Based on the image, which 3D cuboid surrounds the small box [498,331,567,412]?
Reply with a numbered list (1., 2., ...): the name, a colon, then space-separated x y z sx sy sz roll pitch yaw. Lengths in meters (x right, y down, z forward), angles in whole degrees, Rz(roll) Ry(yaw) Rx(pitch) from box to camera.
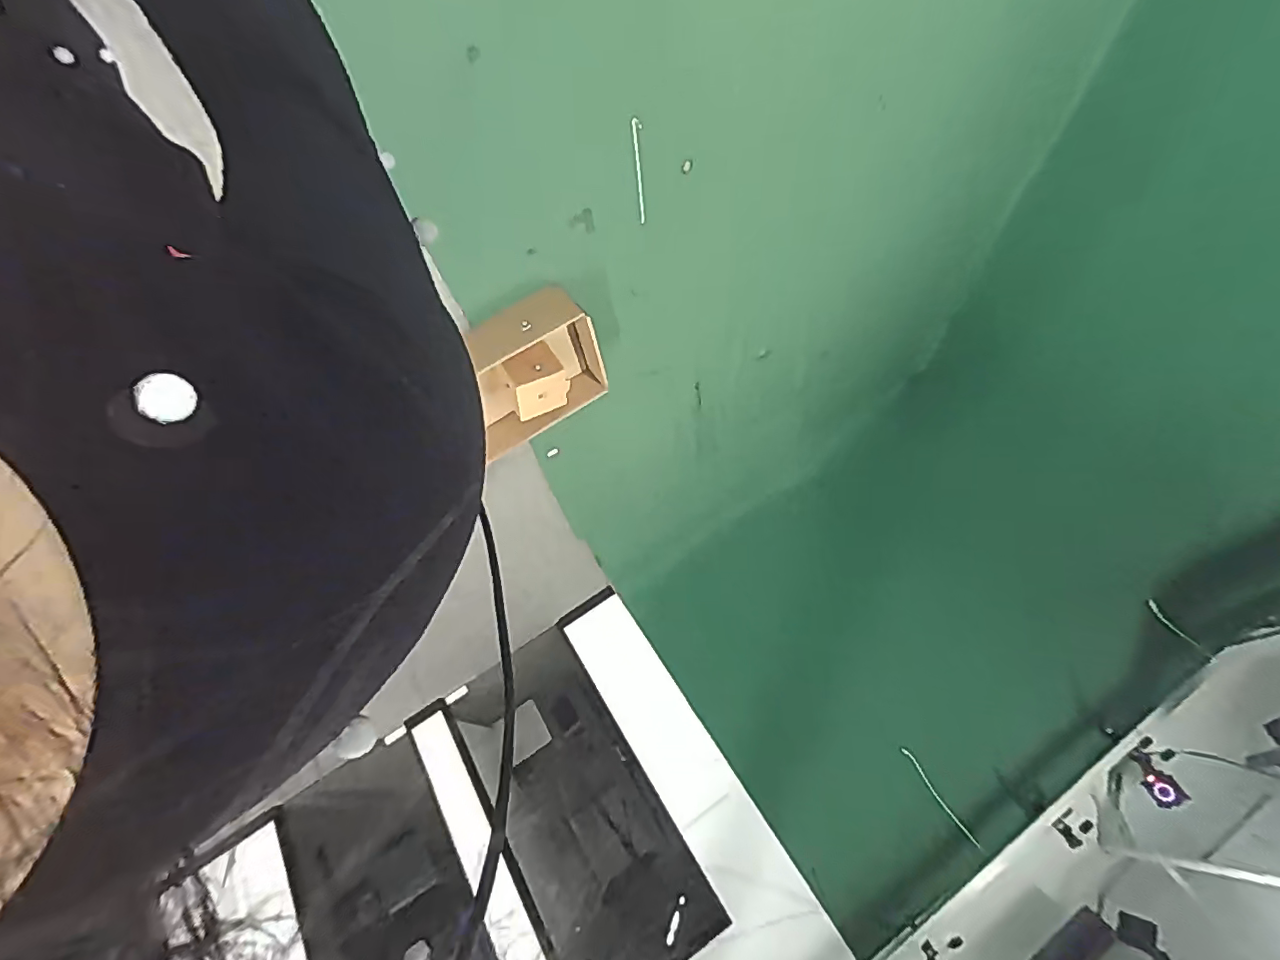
1. small box: -0.359 -0.364 1.800 0.179 0.176 0.168 -25 153 -20
